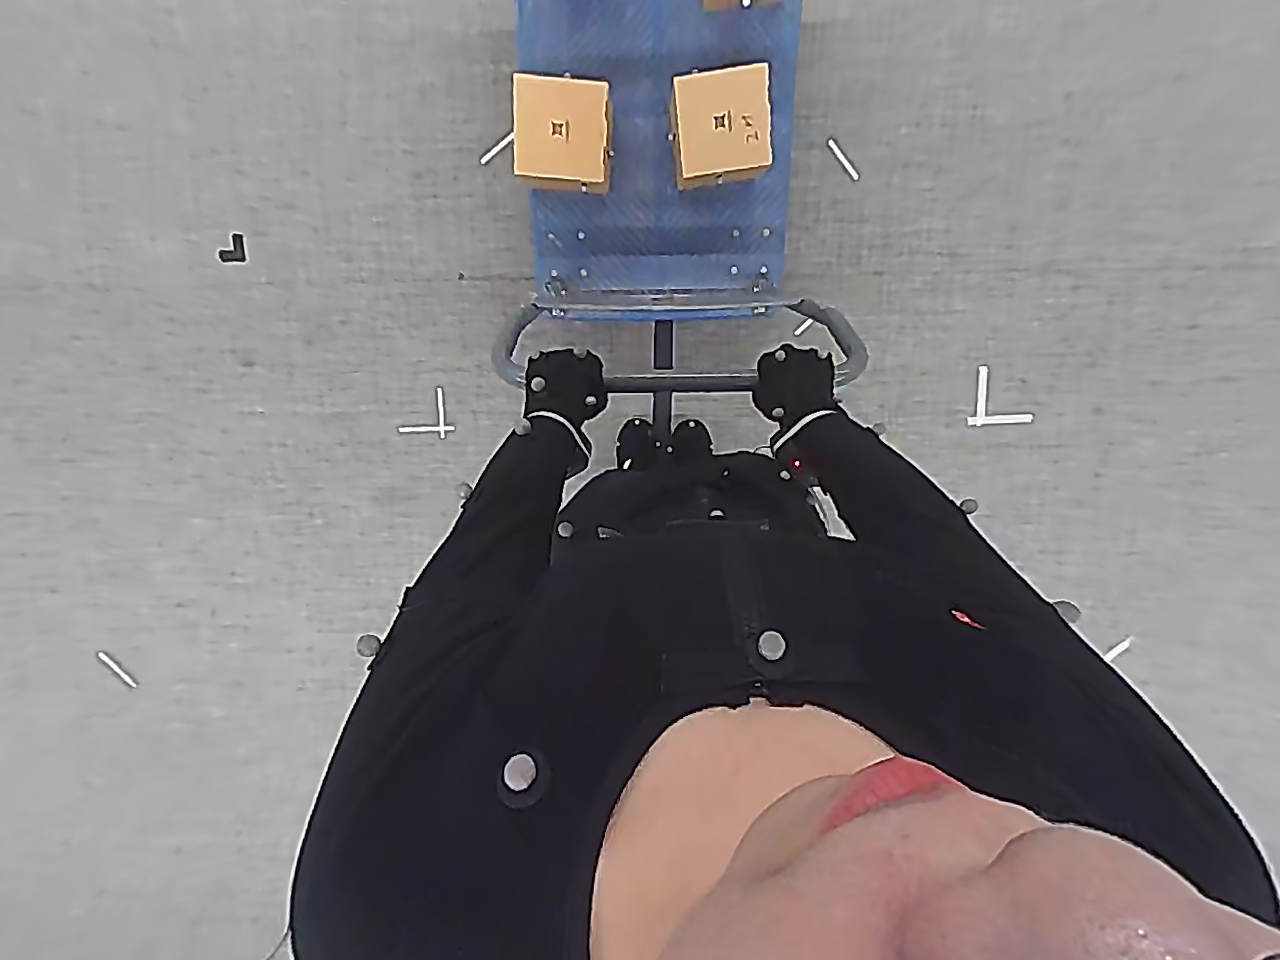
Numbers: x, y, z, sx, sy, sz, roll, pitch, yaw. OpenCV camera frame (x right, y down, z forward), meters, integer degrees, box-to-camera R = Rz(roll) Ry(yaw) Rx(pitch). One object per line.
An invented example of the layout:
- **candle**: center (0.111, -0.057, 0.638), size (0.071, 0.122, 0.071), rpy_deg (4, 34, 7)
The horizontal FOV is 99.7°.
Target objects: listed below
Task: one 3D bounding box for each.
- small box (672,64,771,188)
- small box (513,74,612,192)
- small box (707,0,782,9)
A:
- **small box**: center (0.157, -0.696, 1.084), size (0.179, 0.176, 0.168), rpy_deg (-7, 112, 3)
- **small box**: center (-0.151, -0.687, 1.090), size (0.179, 0.176, 0.168), rpy_deg (3, 111, -3)
- **small box**: center (0.202, -0.992, 0.966), size (0.168, 0.176, 0.179), rpy_deg (-4, 112, 2)
